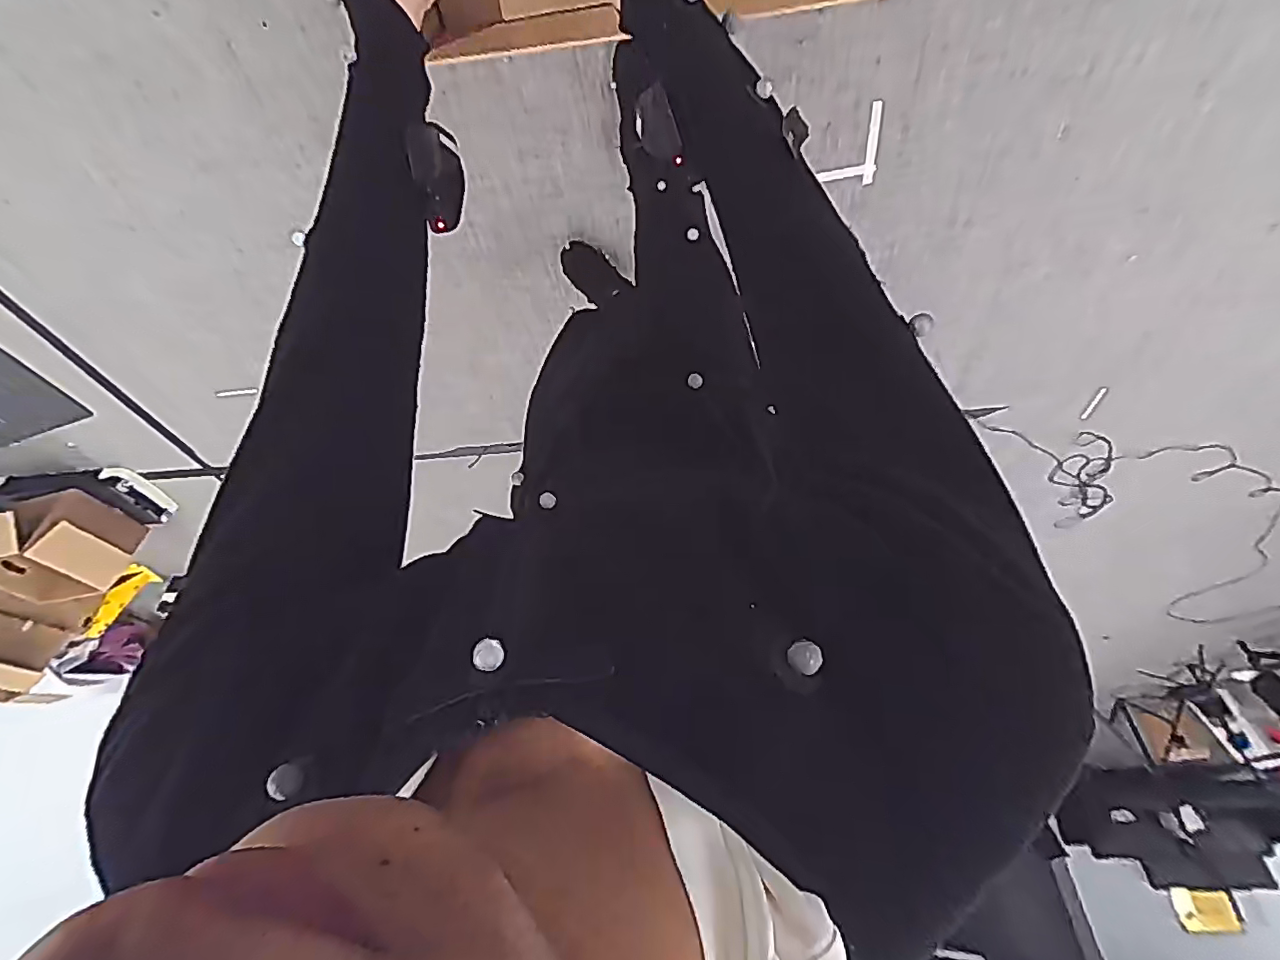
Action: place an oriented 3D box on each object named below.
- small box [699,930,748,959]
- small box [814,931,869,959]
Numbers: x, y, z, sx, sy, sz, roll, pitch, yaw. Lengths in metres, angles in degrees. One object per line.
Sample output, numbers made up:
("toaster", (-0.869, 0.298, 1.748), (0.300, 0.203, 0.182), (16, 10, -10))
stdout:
("small box", (0.298, 1.698, 1.897), (0.168, 0.176, 0.179), (-6, 143, 8))
("small box", (0.753, 1.792, 2.011), (0.179, 0.176, 0.168), (-6, 142, 9))
